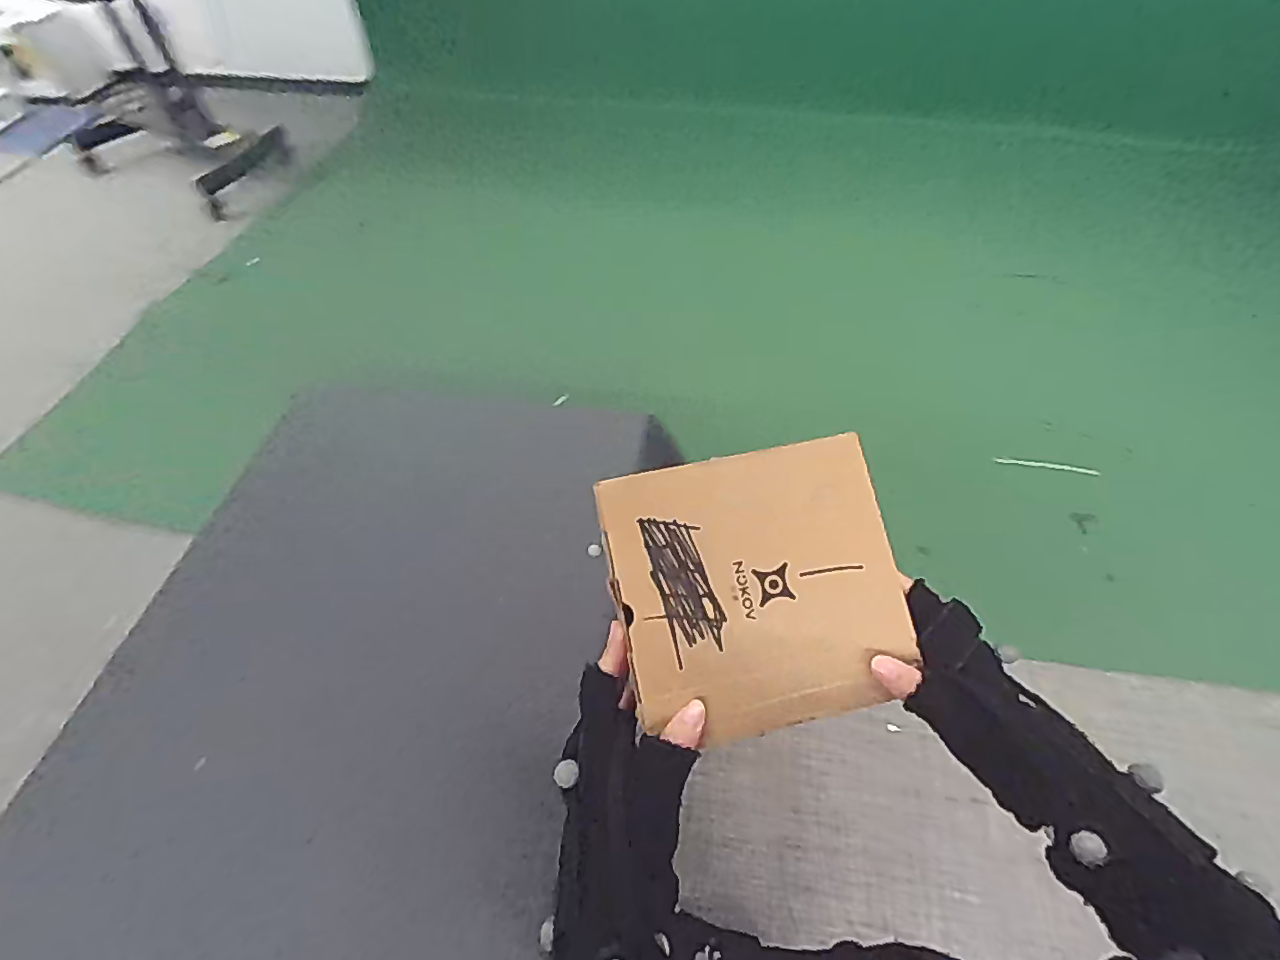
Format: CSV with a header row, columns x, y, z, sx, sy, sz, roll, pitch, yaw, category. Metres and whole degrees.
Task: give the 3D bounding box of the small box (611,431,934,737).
x,y,z,sx,sy,sz,roll,pitch,yaw,category
0.077,0.075,0.415,0.179,0.176,0.168,-10,80,-5,small box
